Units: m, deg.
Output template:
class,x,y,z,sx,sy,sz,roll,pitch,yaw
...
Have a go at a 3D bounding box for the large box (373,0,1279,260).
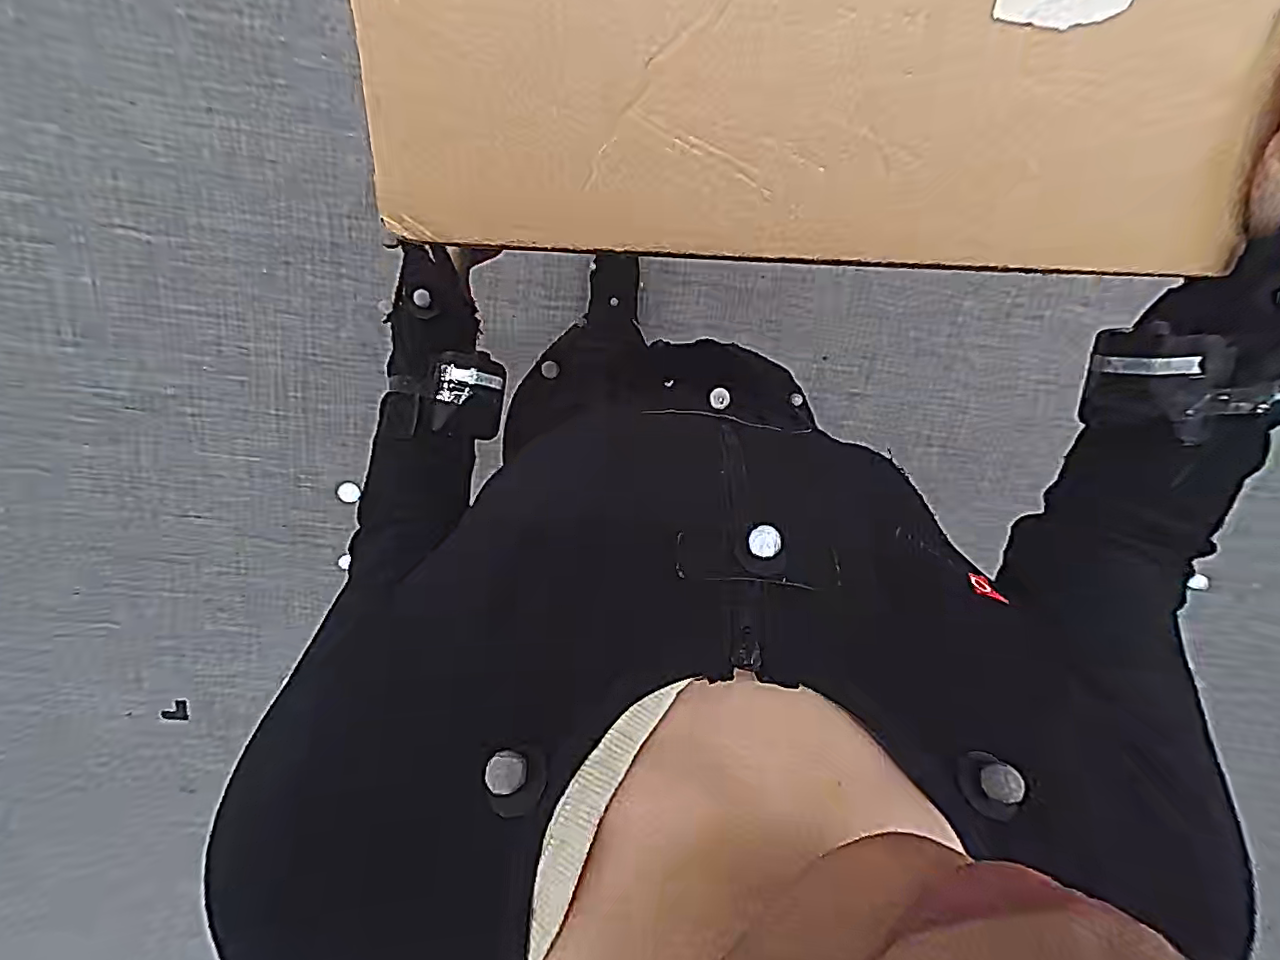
class,x,y,z,sx,sy,sz,roll,pitch,yaw
large box,0.076,-0.309,0.334,0.408,0.320,0.320,-1,114,-8
